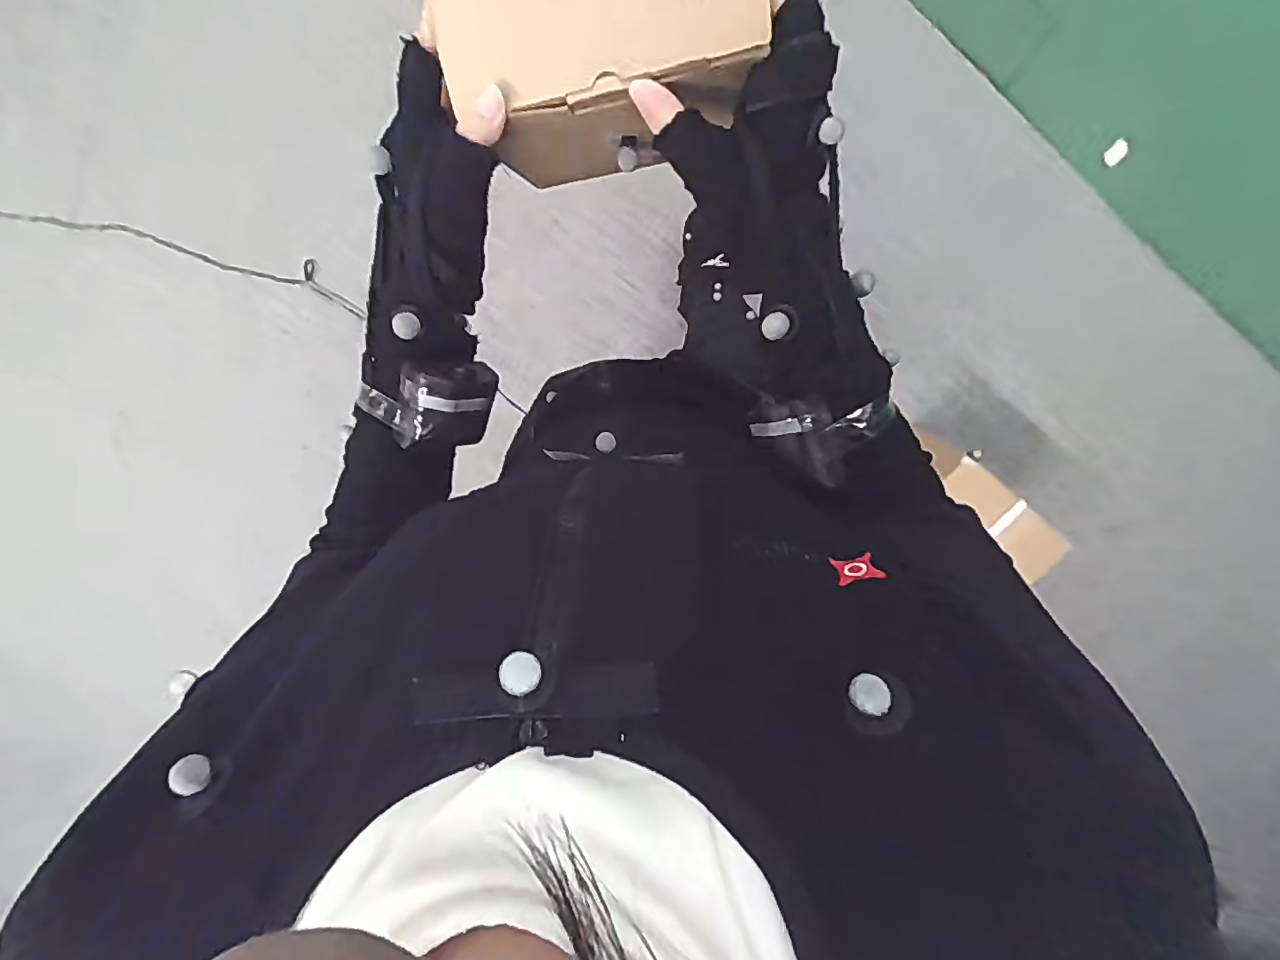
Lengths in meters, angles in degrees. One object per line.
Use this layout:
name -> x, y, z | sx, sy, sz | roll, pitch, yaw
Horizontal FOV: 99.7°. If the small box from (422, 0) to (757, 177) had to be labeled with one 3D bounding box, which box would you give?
small box -> -0.027, -0.302, 0.328 | 0.168, 0.176, 0.179 | -9, 109, 8
